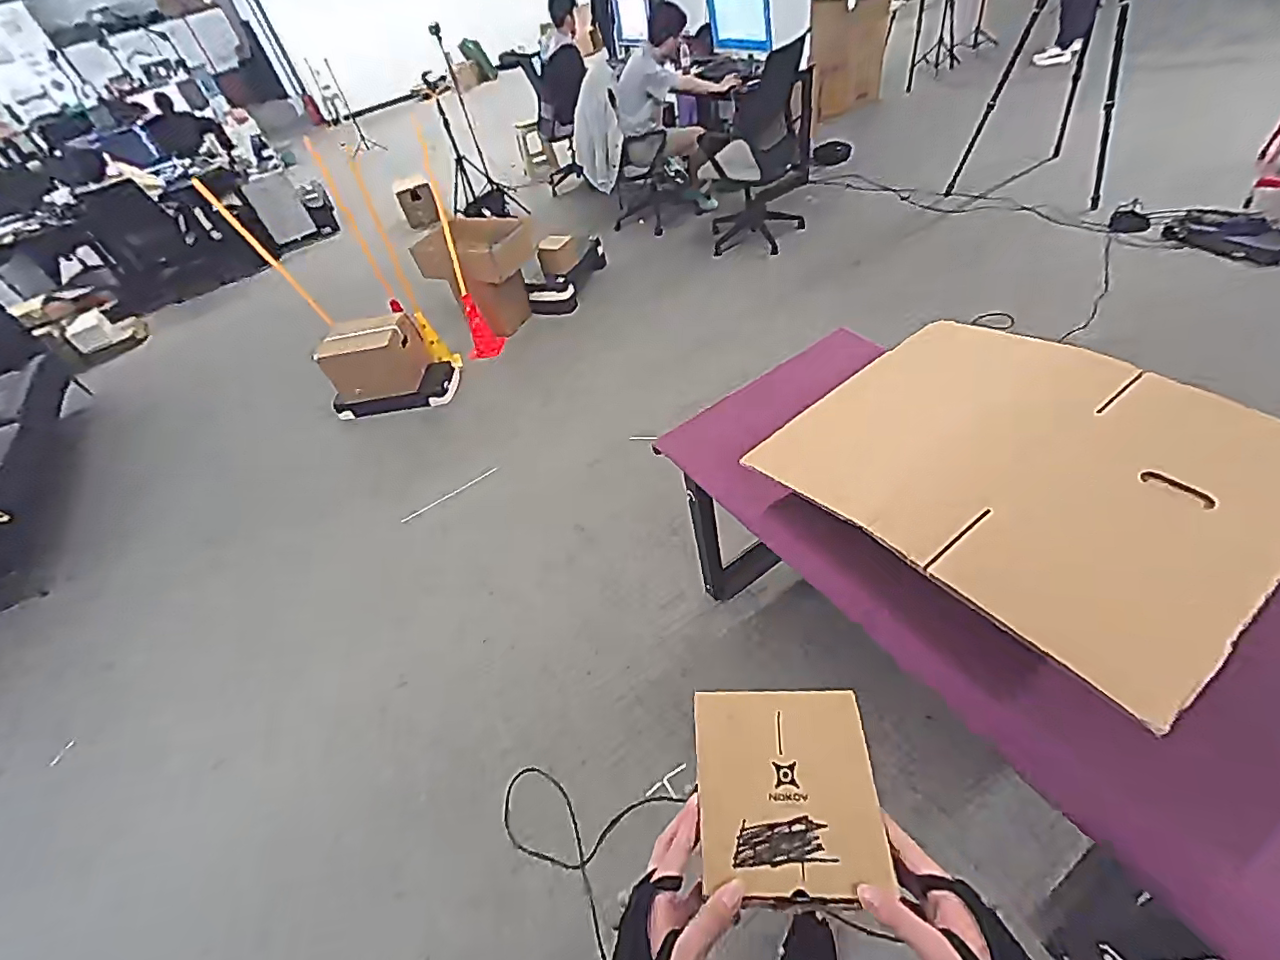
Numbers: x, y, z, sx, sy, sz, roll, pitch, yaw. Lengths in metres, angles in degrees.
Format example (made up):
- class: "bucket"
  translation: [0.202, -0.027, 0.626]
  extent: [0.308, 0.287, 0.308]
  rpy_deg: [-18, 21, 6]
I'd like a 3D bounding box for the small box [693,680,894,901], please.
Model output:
- class: "small box"
  translation: [0.142, 0.326, 0.566]
  extent: [0.168, 0.176, 0.179]
  rpy_deg: [-2, 50, 5]
